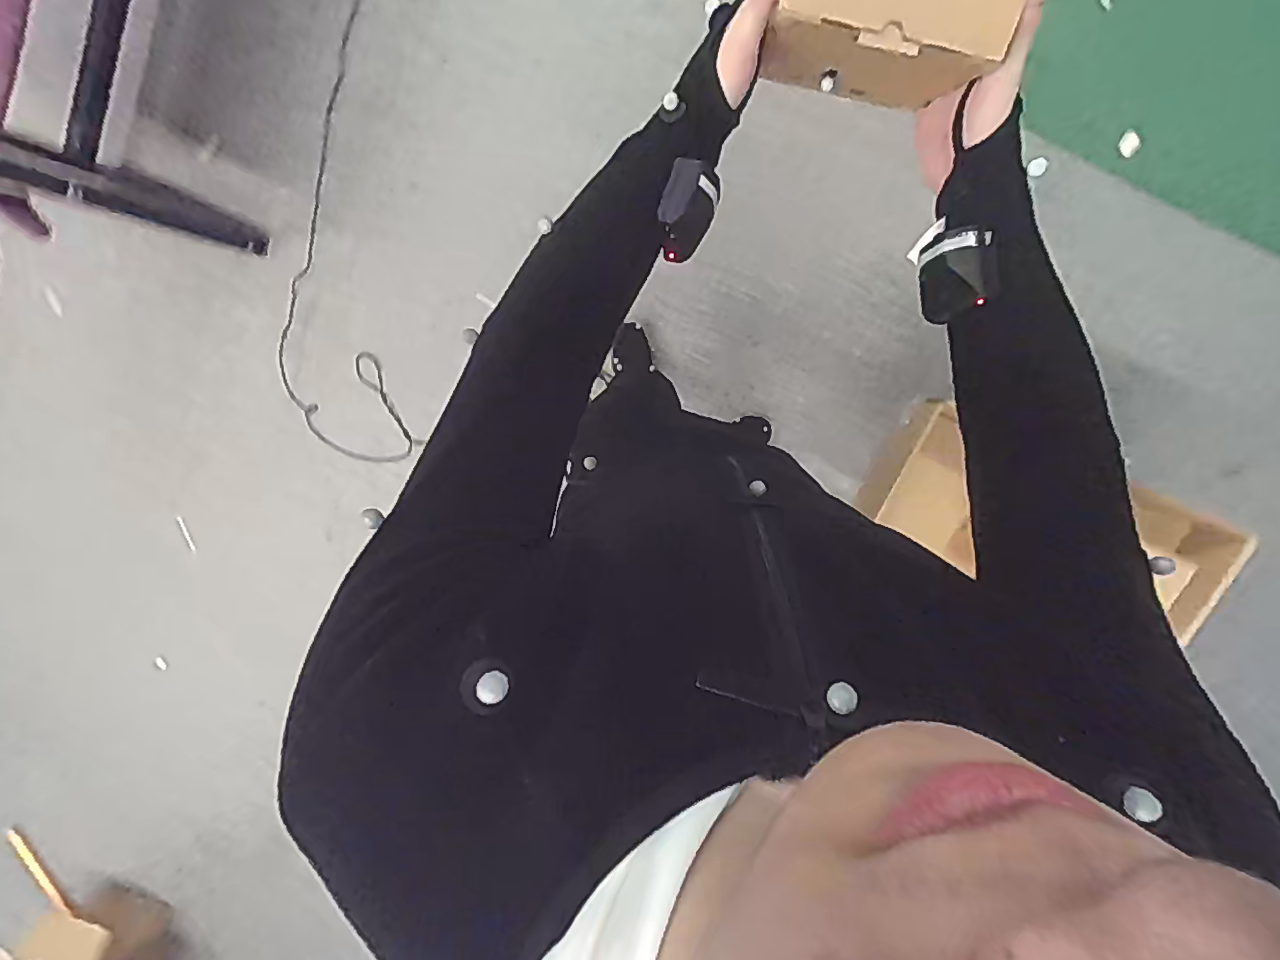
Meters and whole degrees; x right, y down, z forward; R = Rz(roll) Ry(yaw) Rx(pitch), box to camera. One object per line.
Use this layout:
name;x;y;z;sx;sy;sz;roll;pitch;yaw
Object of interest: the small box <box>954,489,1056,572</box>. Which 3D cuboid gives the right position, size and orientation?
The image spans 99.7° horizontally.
small box;0.763;0.128;1.059;0.179;0.176;0.168;25;102;1
